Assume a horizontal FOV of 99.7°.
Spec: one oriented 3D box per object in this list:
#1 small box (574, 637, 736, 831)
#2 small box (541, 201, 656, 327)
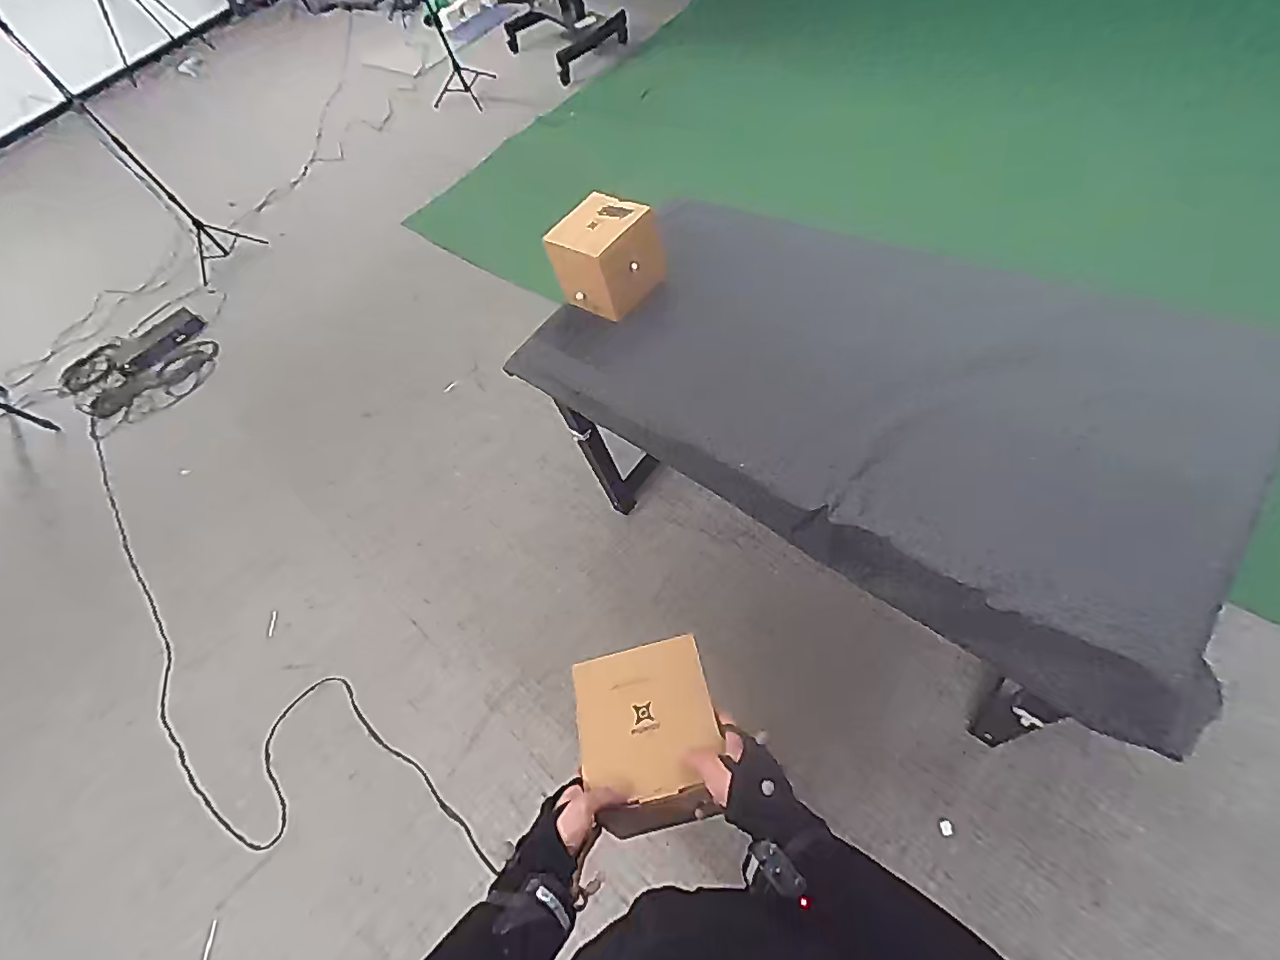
[{"bbox_3d":[0.022,0.340,0.712,0.168,0.176,0.179,-15,47,0],"label":"small box"},{"bbox_3d":[-0.081,-0.471,1.185,0.168,0.176,0.179,30,70,29],"label":"small box"}]
